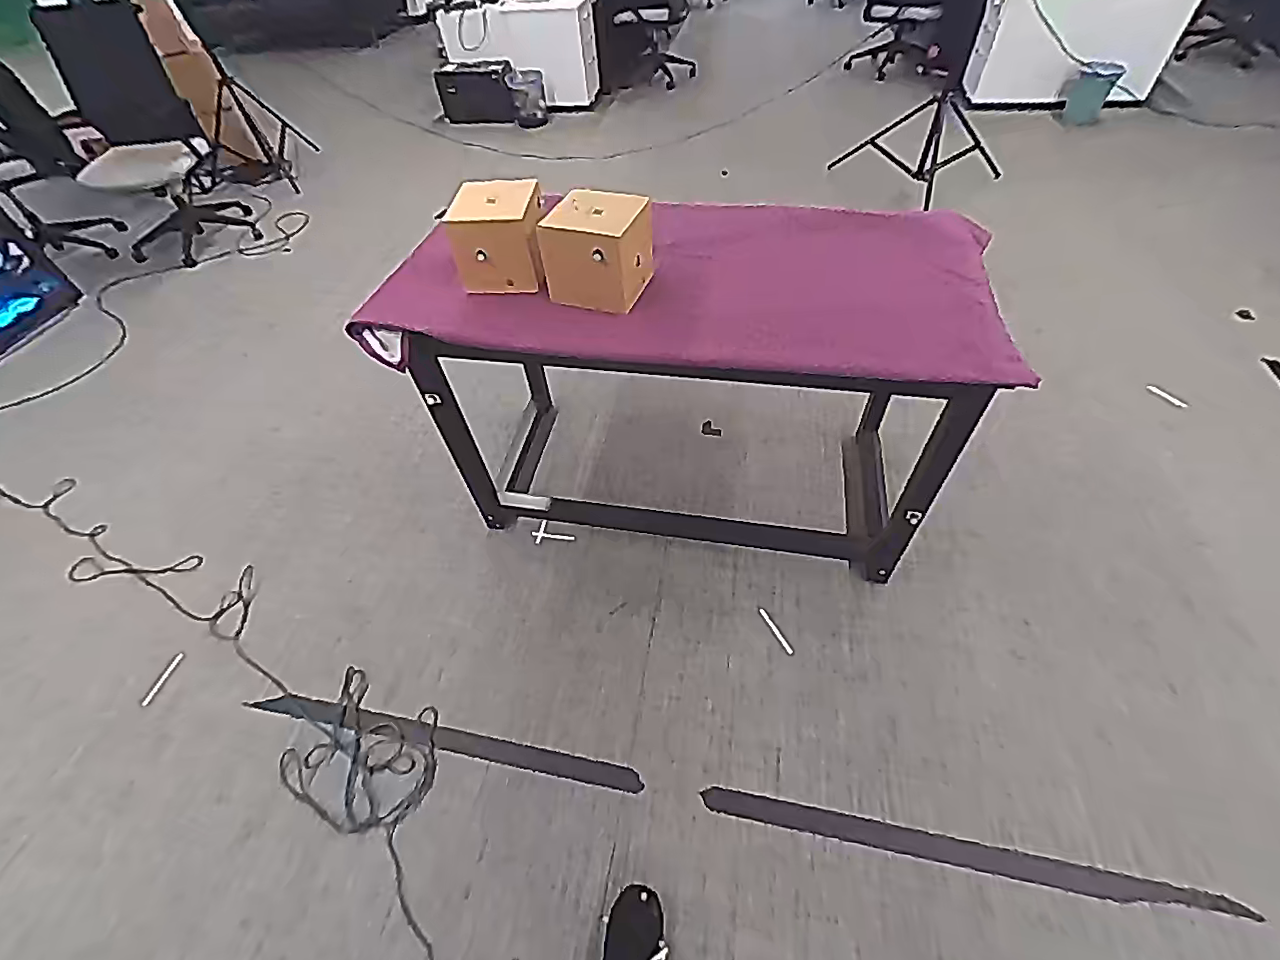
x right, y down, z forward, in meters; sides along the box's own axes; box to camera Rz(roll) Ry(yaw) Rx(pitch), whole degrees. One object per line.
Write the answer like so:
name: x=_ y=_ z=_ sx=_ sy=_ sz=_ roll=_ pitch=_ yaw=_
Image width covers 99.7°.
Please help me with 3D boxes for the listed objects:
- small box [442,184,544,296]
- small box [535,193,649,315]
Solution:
small box: x=-0.304 y=-0.517 z=1.179 sx=0.168 sy=0.176 sz=0.179 roll=0 pitch=51 yaw=5
small box: x=-0.088 y=-0.463 z=1.115 sx=0.179 sy=0.176 sz=0.168 roll=14 pitch=52 yaw=16
